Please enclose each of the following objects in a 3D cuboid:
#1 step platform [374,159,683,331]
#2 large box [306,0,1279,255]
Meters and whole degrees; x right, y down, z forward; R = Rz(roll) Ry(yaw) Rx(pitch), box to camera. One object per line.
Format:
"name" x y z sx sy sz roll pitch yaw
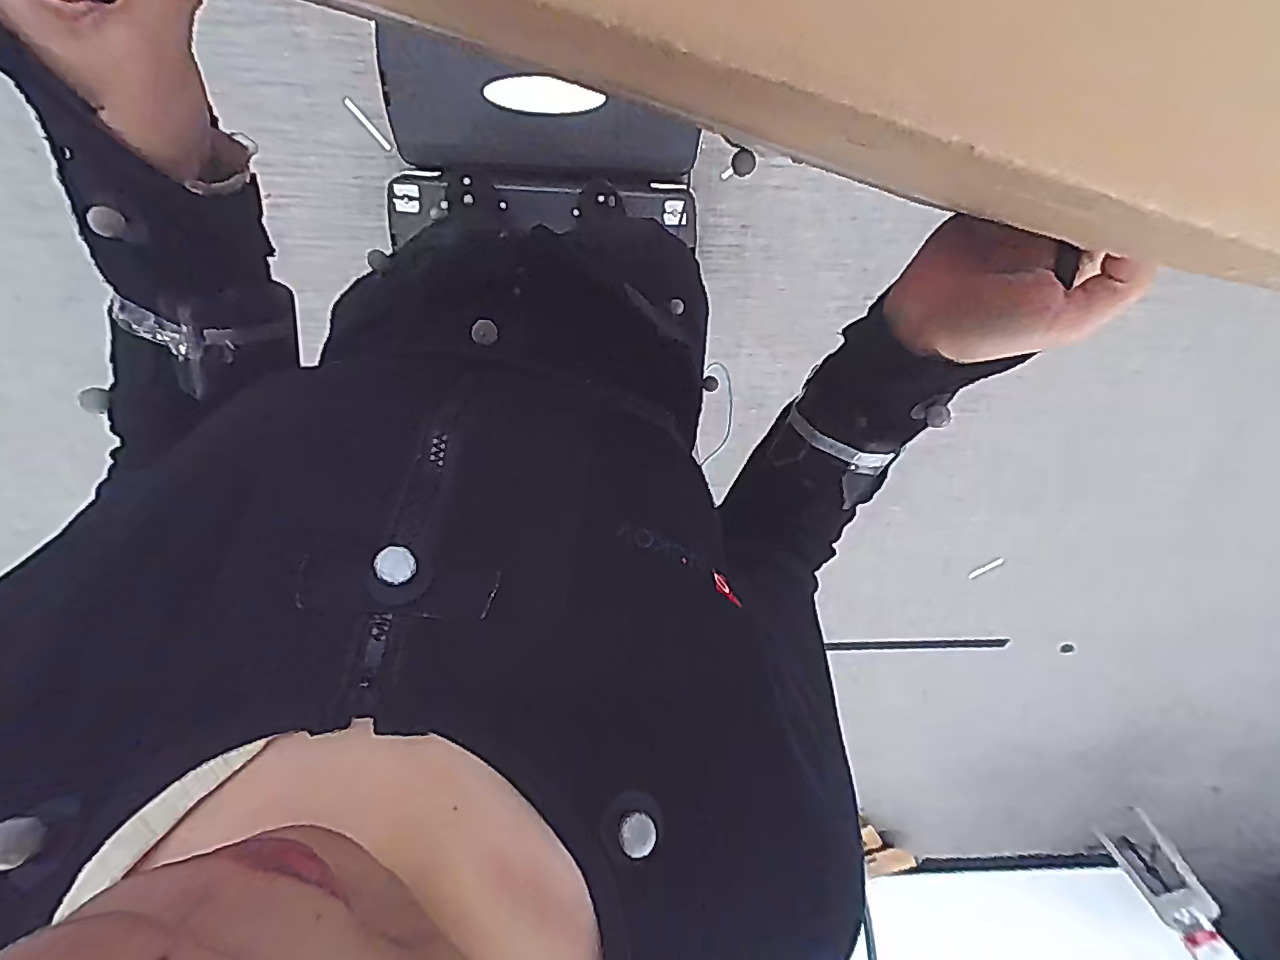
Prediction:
"step platform" -0.243 -0.541 1.264 0.684 0.204 0.286 6 122 -5
"large box" 0.022 -0.291 0.138 0.408 0.320 0.320 12 124 -7
